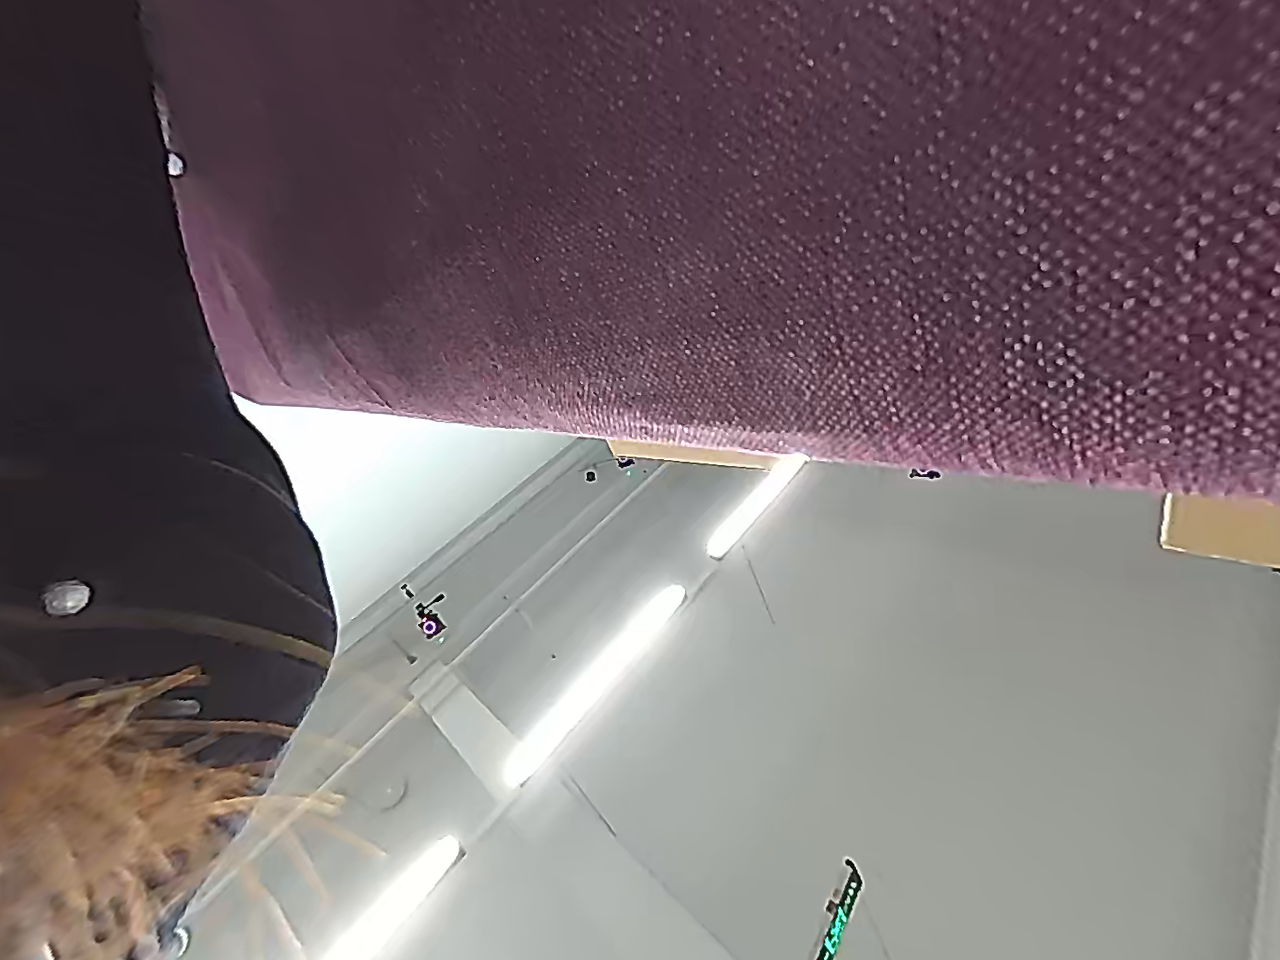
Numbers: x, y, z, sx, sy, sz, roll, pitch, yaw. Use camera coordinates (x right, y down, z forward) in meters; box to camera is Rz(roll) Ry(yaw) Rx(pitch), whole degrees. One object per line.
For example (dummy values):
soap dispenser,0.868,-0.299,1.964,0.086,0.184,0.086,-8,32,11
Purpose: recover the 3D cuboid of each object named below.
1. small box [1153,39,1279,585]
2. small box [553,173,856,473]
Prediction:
small box,0.298,-0.068,0.174,0.179,0.176,0.168,-43,-146,-26
small box,0.052,-0.128,0.450,0.179,0.176,0.168,9,-135,46
